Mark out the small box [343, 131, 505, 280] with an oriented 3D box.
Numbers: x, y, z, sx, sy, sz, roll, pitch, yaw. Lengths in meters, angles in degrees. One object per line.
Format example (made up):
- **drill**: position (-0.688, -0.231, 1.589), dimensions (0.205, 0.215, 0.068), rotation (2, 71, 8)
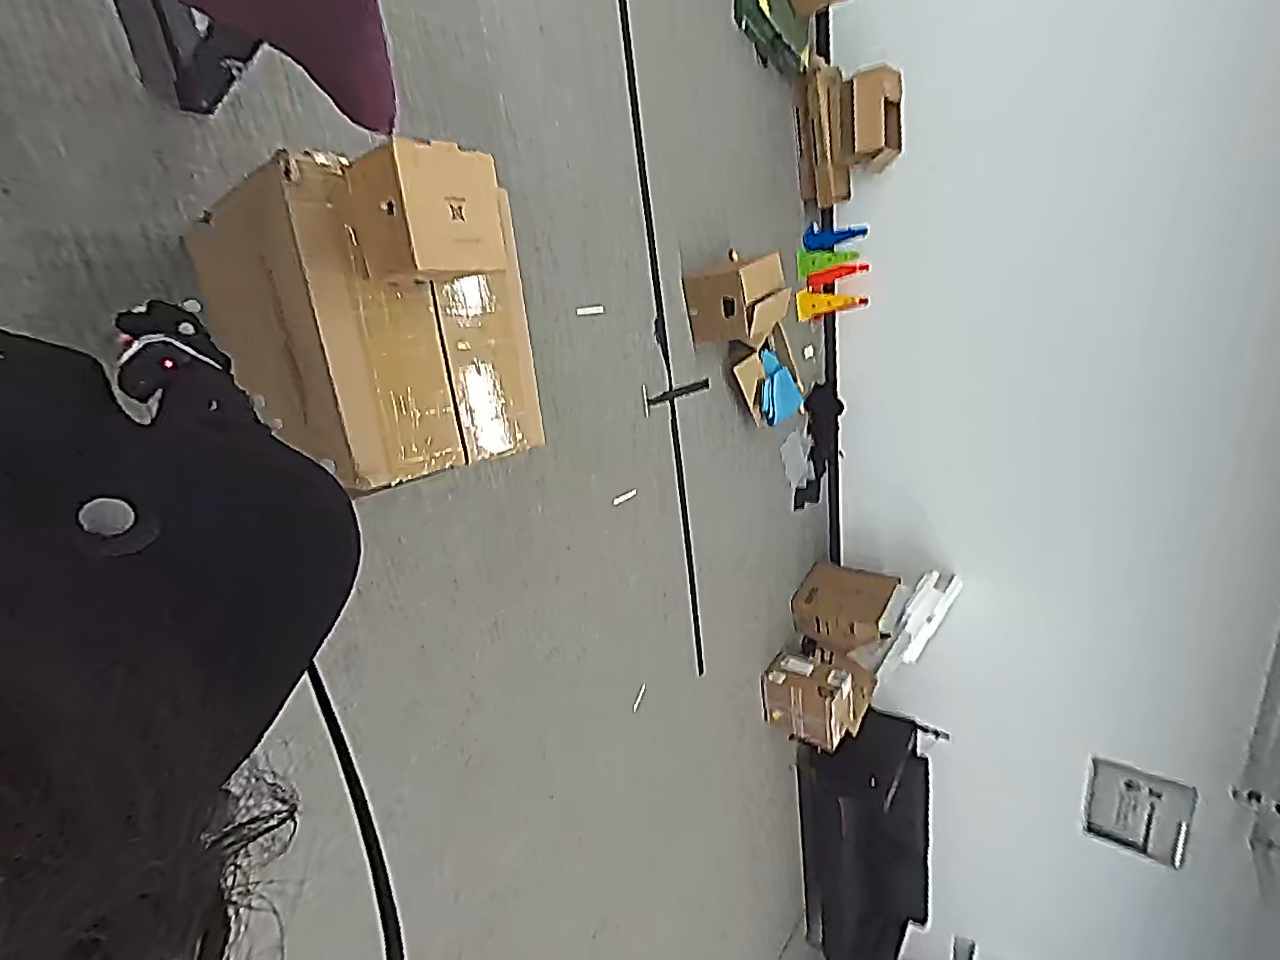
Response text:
- **small box**: position (-0.345, -0.422, 0.863), dimensions (0.168, 0.176, 0.179), rotation (-23, 115, -45)
